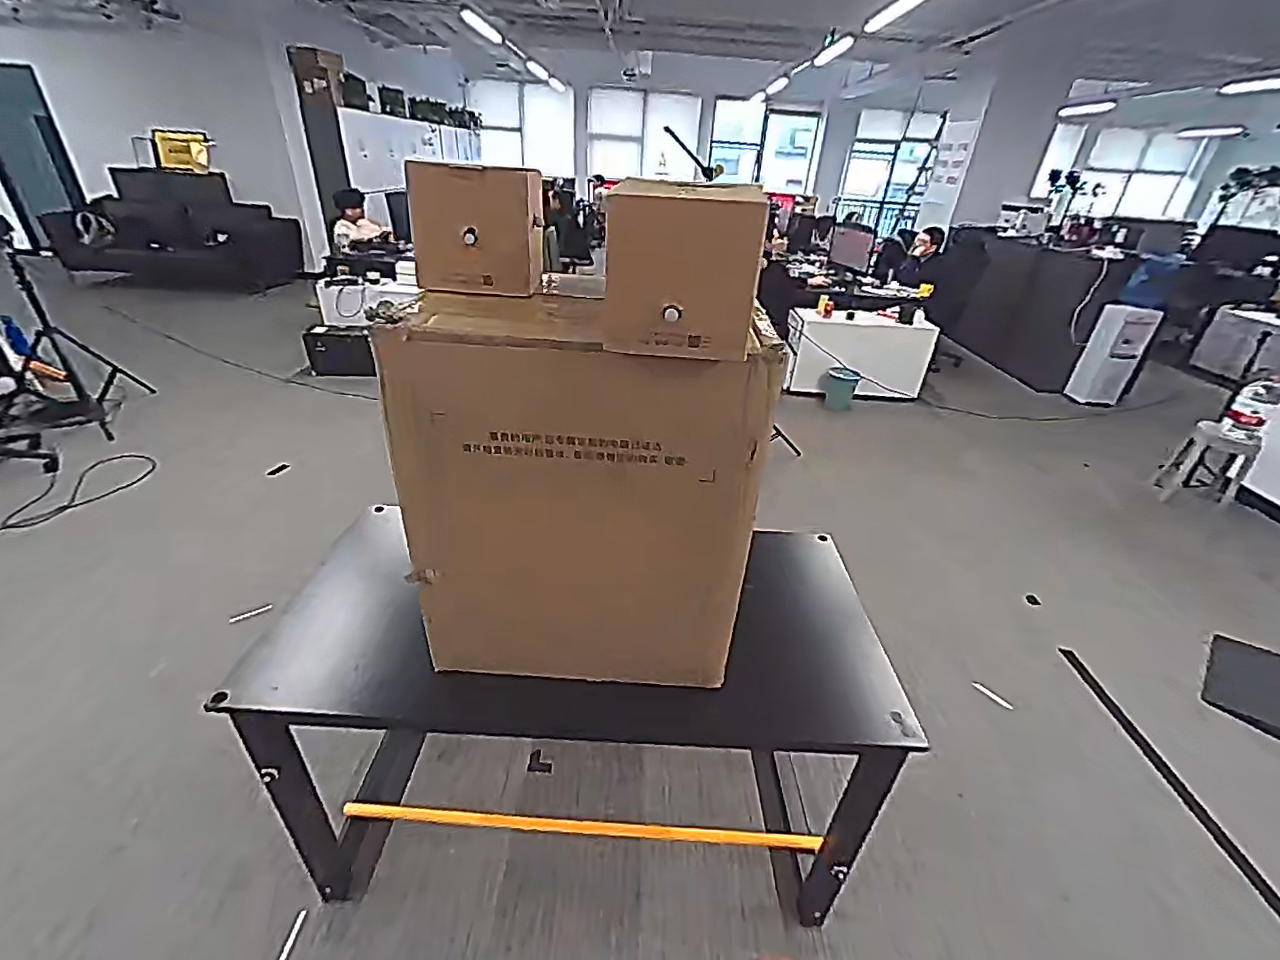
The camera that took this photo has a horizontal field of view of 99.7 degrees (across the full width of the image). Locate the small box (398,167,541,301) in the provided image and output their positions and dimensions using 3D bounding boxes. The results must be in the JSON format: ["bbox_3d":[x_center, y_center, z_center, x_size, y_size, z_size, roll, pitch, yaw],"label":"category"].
[{"bbox_3d":[-0.245,-0.378,0.828,0.168,0.176,0.179,2,30,-3],"label":"small box"}]

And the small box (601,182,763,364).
[{"bbox_3d":[0.050,-0.252,0.648,0.168,0.176,0.179,4,34,6],"label":"small box"}]
